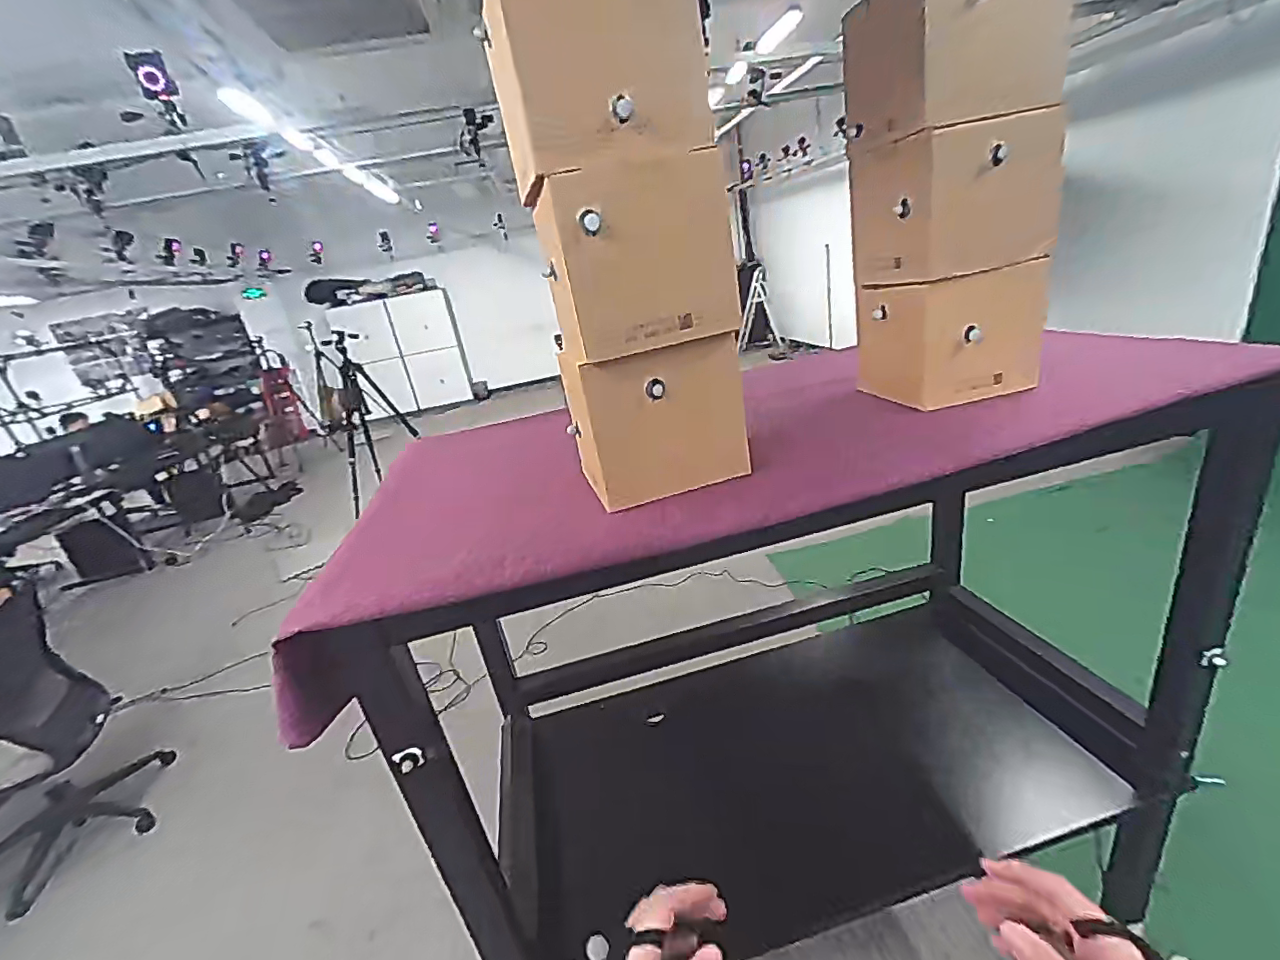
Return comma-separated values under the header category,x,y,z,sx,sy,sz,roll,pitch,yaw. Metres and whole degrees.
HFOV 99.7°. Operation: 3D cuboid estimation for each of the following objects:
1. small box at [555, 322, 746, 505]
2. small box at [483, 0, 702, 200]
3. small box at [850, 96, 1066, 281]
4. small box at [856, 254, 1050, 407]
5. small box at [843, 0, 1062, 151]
category,x,y,z,sx,sy,sz,roll,pitch,yaw
small box,0.010,-0.085,0.647,0.179,0.176,0.168,-15,22,-11
small box,-0.047,-0.388,0.534,0.179,0.176,0.168,-15,20,-11
small box,0.396,-0.354,0.693,0.179,0.176,0.168,-14,21,-7
small box,0.427,-0.208,0.758,0.168,0.176,0.179,-13,20,-4
small box,0.367,-0.509,0.646,0.179,0.176,0.168,-13,21,-5
